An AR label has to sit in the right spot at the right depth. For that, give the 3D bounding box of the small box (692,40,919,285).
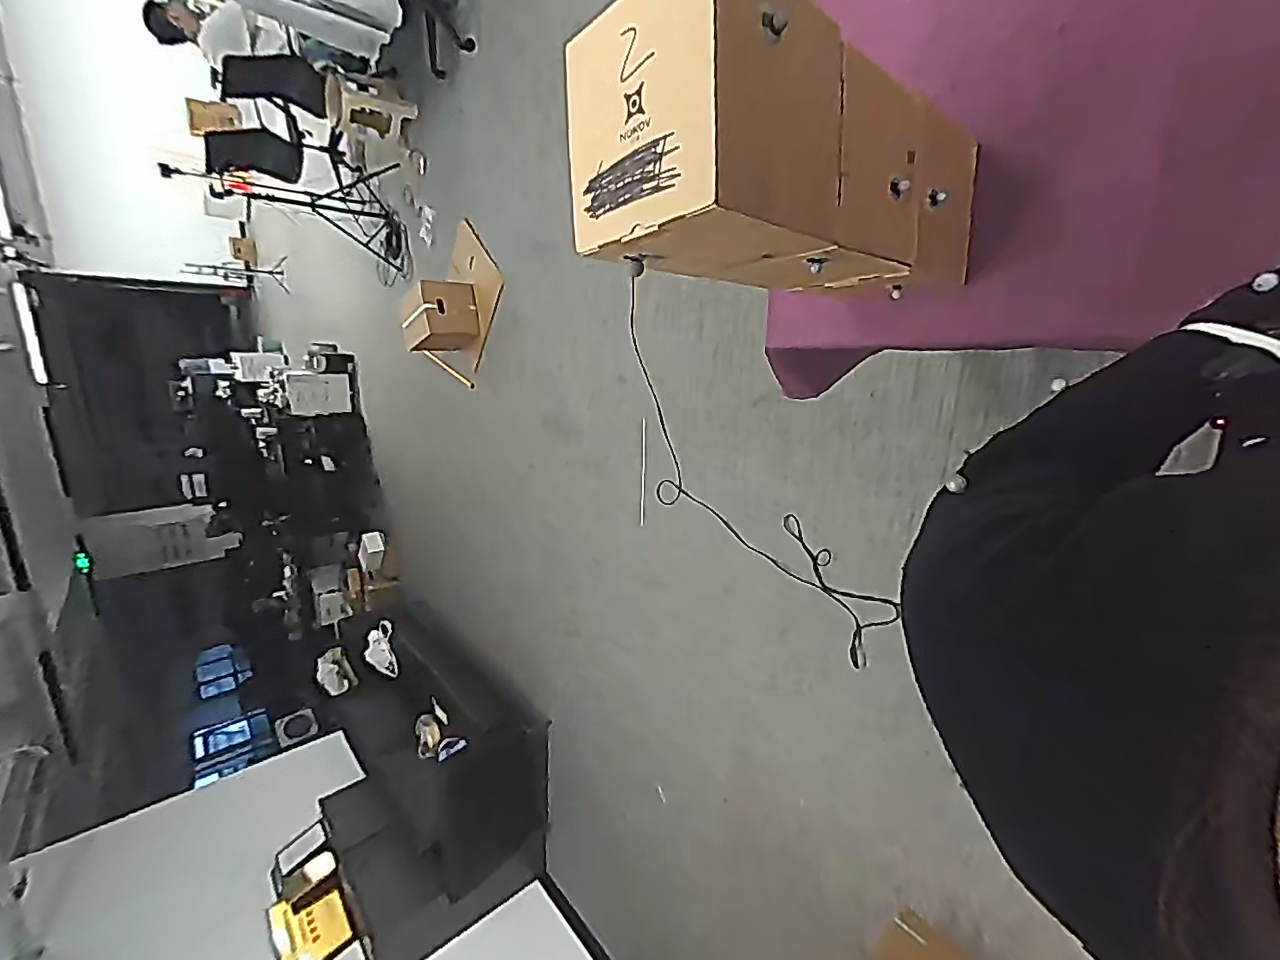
[{"bbox_3d":[0.175,-0.314,0.585,0.179,0.176,0.168,9,105,46],"label":"small box"}]

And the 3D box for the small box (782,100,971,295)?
[{"bbox_3d":[0.299,-0.336,0.688,0.168,0.176,0.179,12,106,46],"label":"small box"}]
